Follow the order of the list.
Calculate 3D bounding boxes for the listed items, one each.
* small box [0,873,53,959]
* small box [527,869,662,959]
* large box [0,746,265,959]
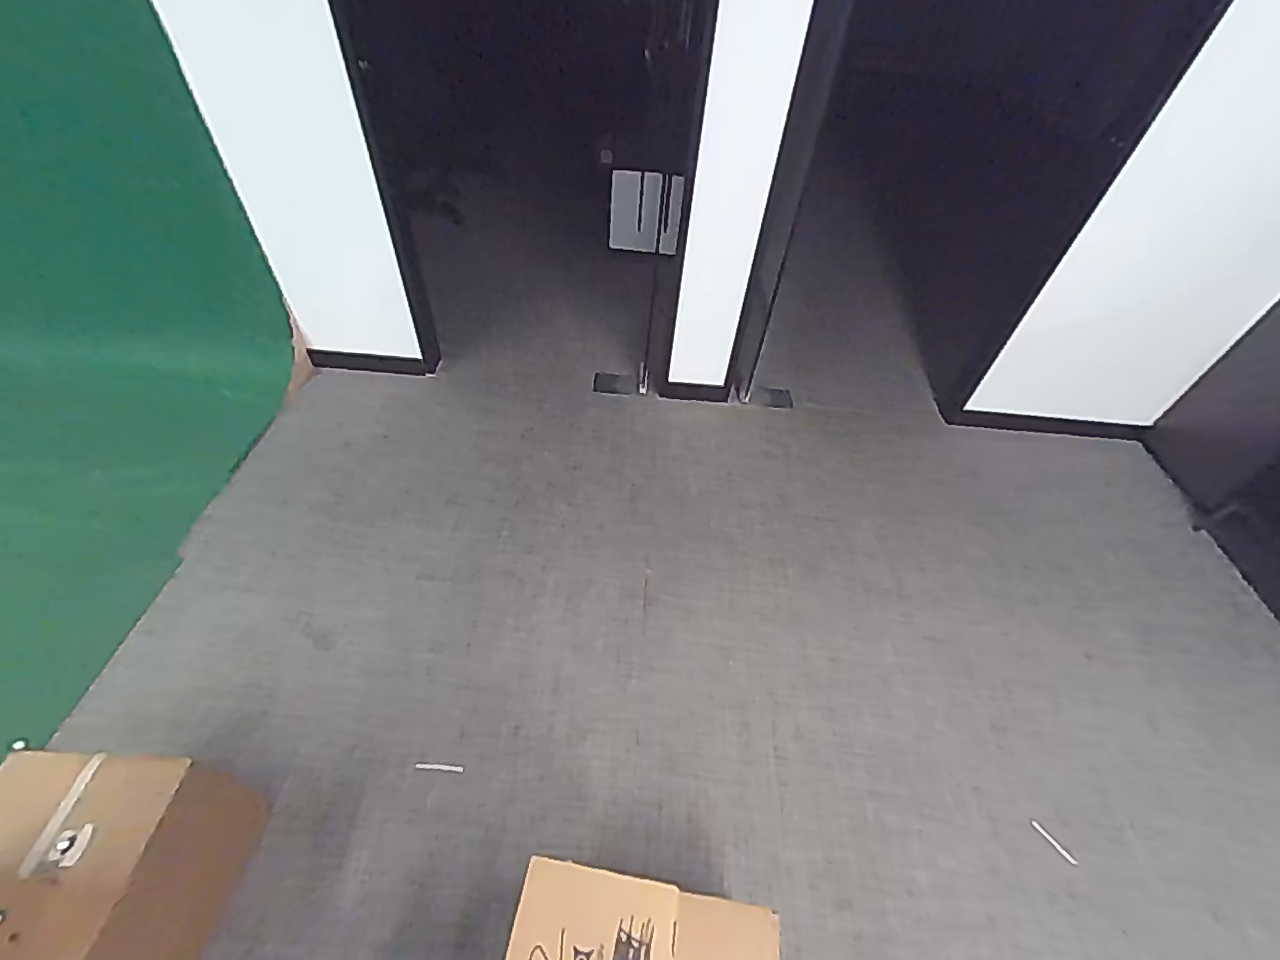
[{"bbox_3d":[-0.957,0.611,0.703,0.179,0.176,0.168,3,46,-2],"label":"small box"},{"bbox_3d":[-0.067,0.668,0.742,0.168,0.176,0.179,9,45,2],"label":"small box"},{"bbox_3d":[-0.955,0.726,0.930,0.320,0.320,0.408,4,46,-2],"label":"large box"}]
